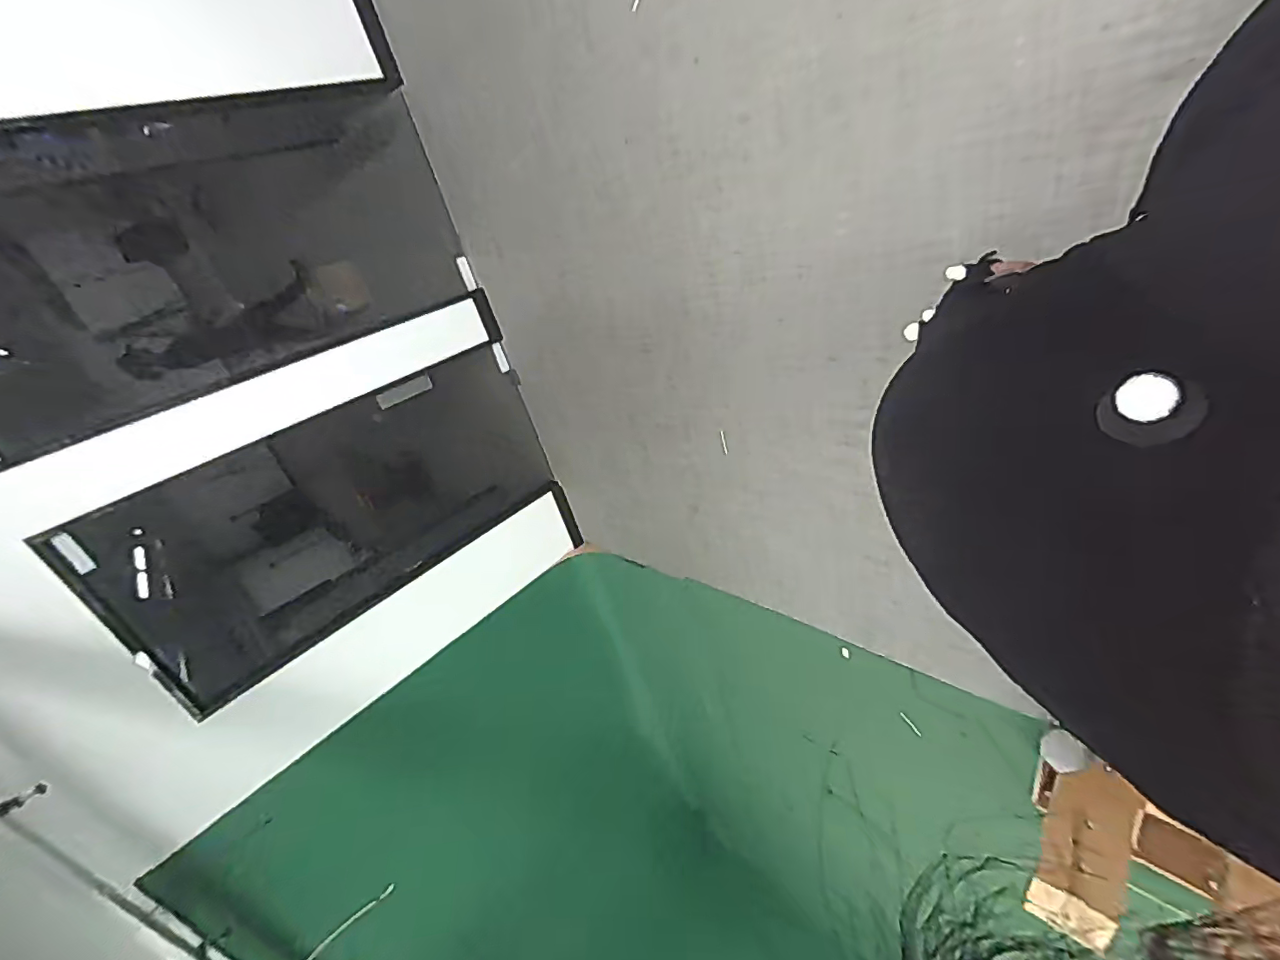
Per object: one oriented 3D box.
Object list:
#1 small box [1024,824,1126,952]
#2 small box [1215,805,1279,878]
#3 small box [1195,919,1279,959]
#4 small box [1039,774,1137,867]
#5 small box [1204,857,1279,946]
[{"bbox_3d":[1.128,1.045,1.401,0.168,0.176,0.179,18,130,42],"label":"small box"},{"bbox_3d":[1.582,0.967,1.354,0.168,0.176,0.179,16,131,46],"label":"small box"},{"bbox_3d":[1.345,1.114,1.178,0.179,0.176,0.168,17,132,45],"label":"small box"},{"bbox_3d":[1.235,0.958,1.490,0.179,0.176,0.168,14,128,45],"label":"small box"},{"bbox_3d":[1.468,1.039,1.259,0.179,0.176,0.168,18,132,46],"label":"small box"}]
